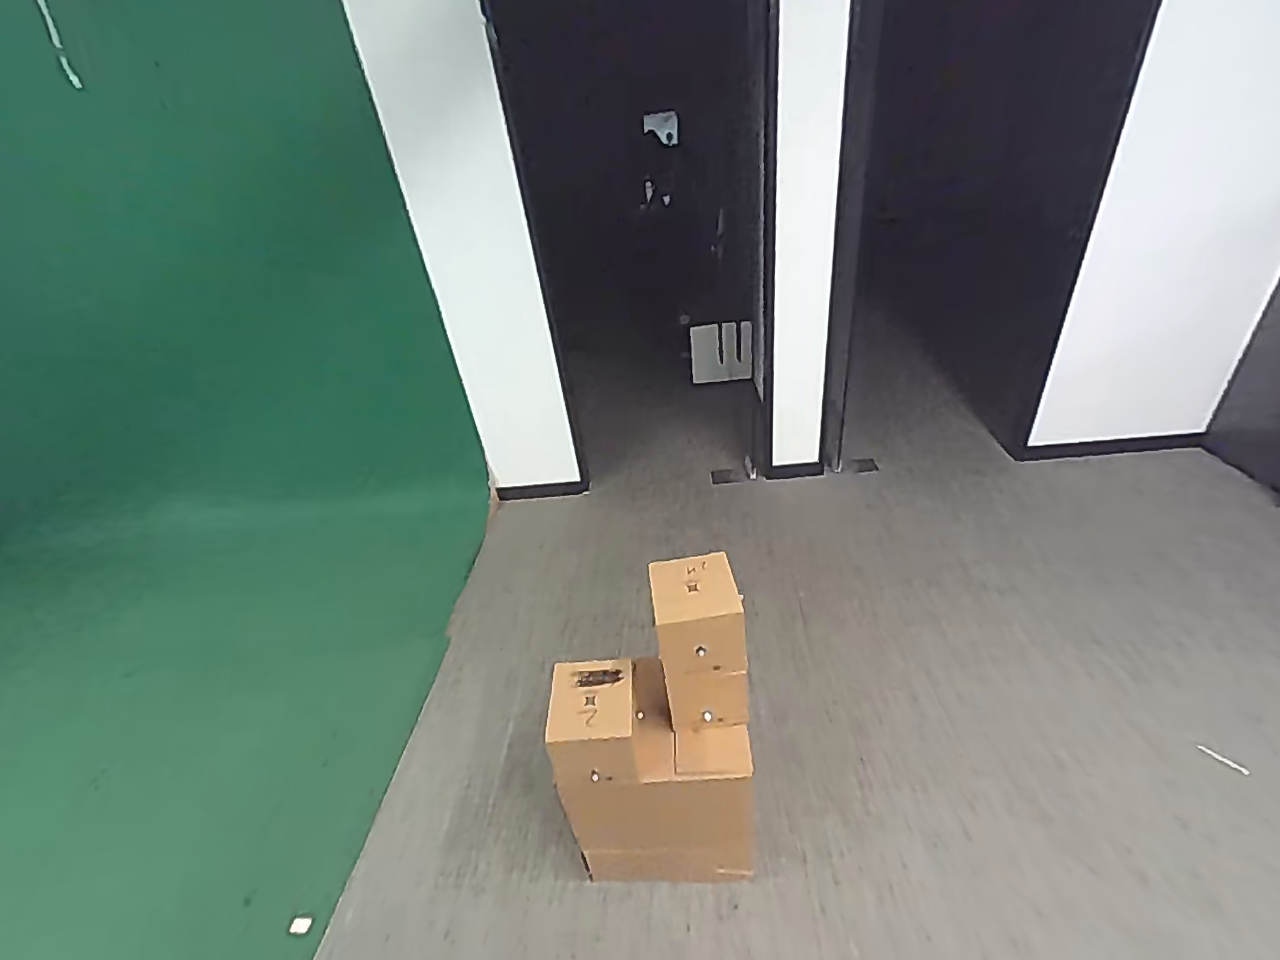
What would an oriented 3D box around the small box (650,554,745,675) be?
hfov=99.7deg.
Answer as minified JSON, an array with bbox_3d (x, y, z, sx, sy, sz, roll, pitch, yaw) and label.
[{"bbox_3d":[0.117,0.280,1.108,0.168,0.176,0.179,-9,32,1],"label":"small box"}]

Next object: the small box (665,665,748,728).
[{"bbox_3d":[0.143,0.417,1.197,0.168,0.176,0.179,-8,34,4],"label":"small box"}]
